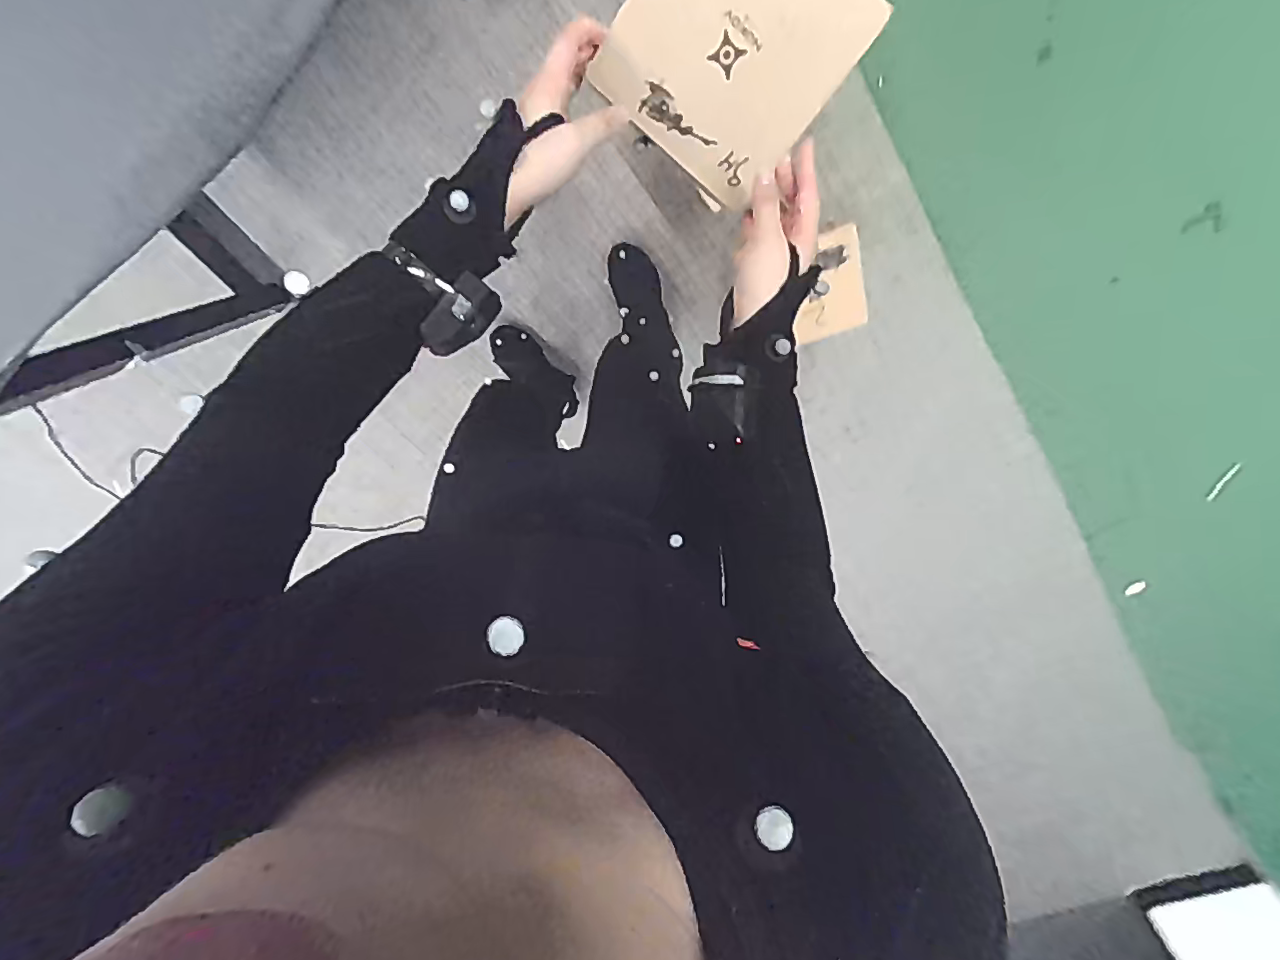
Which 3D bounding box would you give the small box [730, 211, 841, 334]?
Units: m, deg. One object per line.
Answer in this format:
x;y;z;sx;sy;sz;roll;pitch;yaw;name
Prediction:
0.302;-0.442;1.140;0.168;0.176;0.179;-23;116;16;small box

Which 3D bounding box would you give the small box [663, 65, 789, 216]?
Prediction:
0.161;-0.640;1.035;0.168;0.176;0.179;-33;112;20;small box
